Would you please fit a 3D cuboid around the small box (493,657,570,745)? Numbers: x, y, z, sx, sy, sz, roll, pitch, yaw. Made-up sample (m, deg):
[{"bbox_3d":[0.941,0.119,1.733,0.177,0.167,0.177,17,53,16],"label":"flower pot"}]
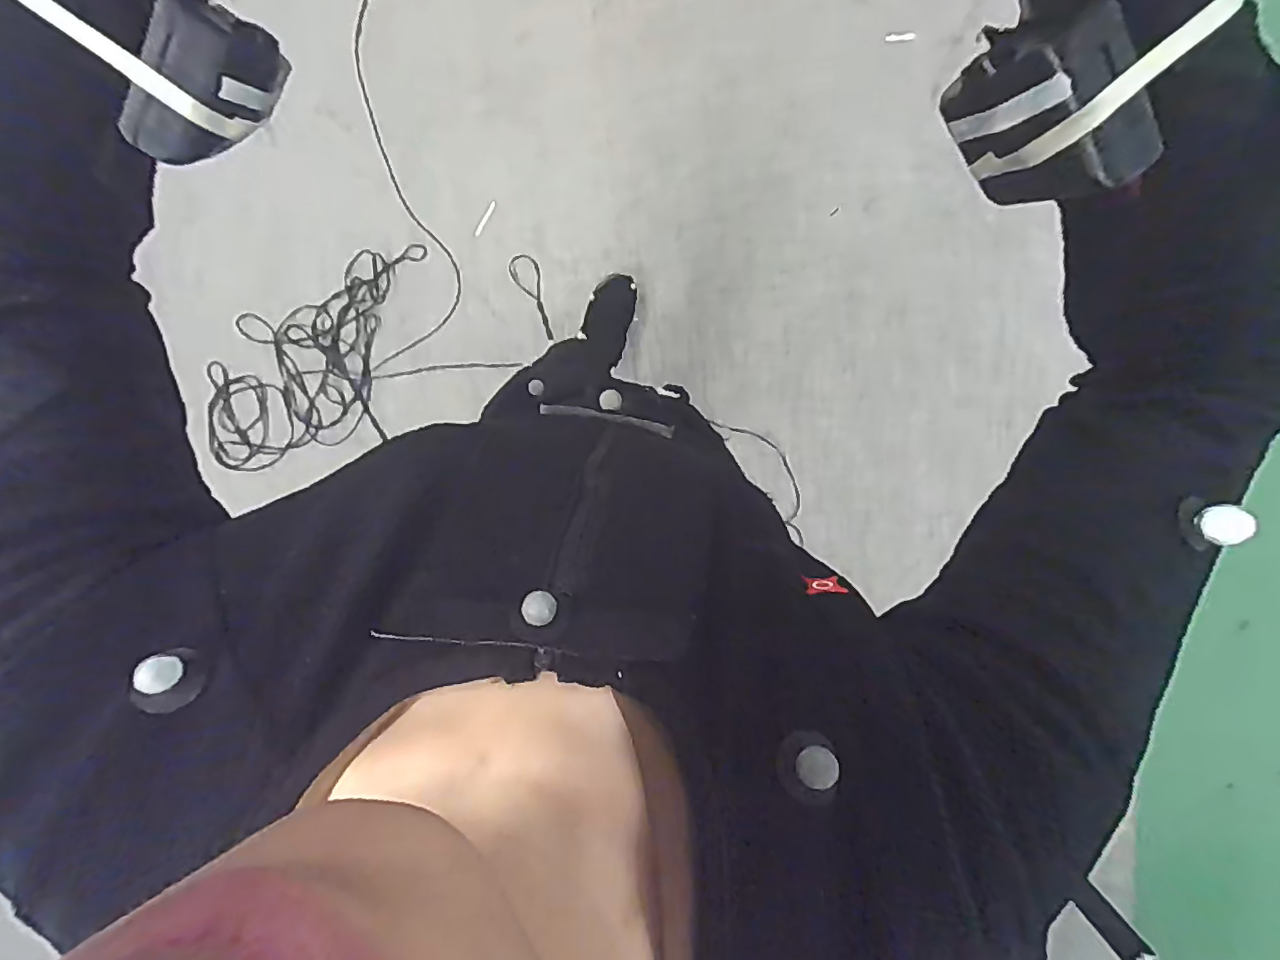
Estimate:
[{"bbox_3d":[-0.296,0.606,1.497,0.179,0.176,0.168,-1,100,1],"label":"small box"}]
